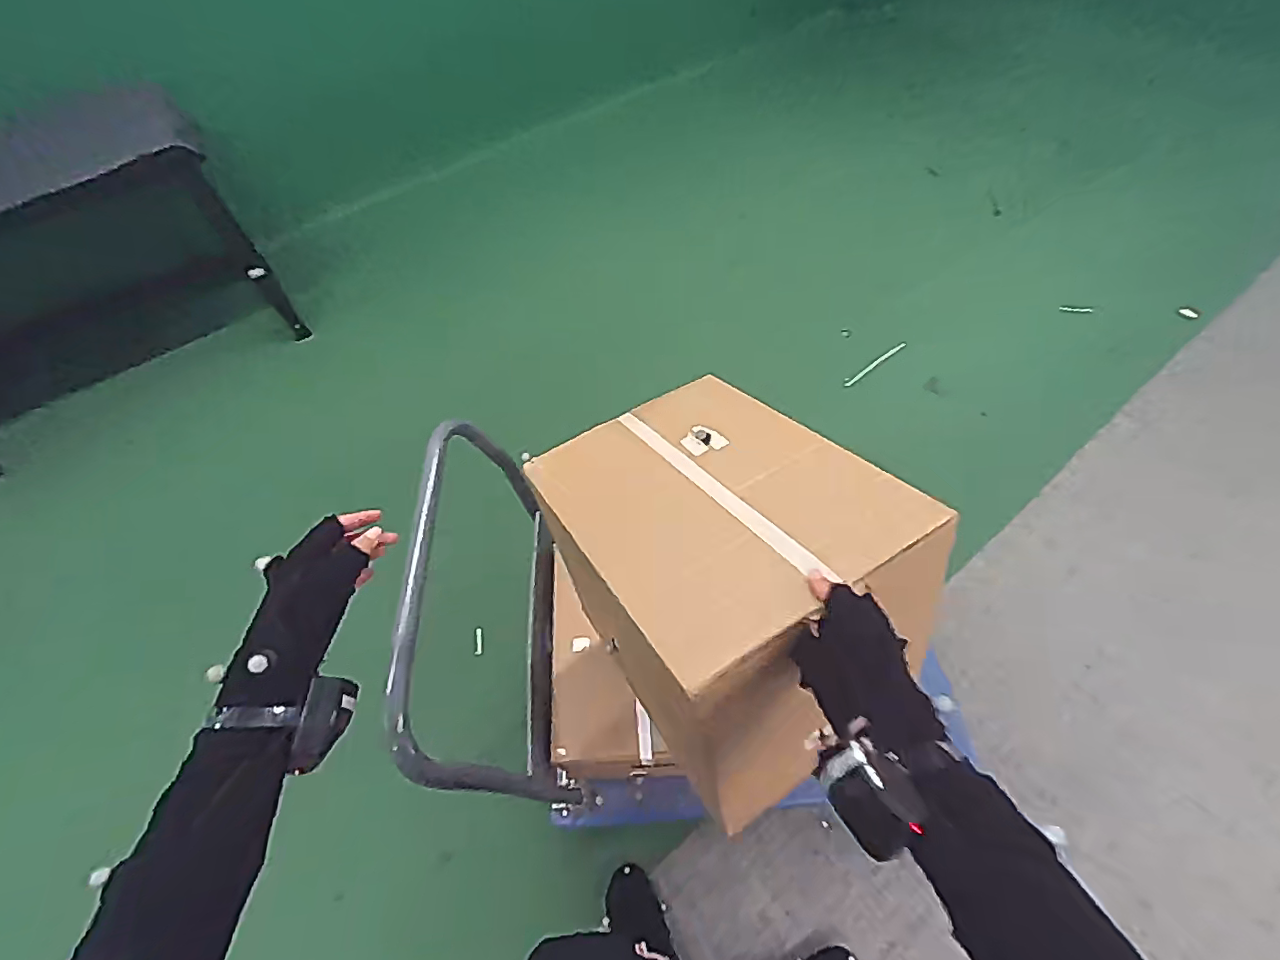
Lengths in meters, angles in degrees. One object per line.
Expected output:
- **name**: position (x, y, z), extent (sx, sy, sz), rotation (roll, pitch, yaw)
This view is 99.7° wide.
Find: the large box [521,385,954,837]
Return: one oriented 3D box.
- **large box**: position (0.103, 0.132, 0.695), extent (0.320, 0.320, 0.408), rotation (-28, 40, -18)
